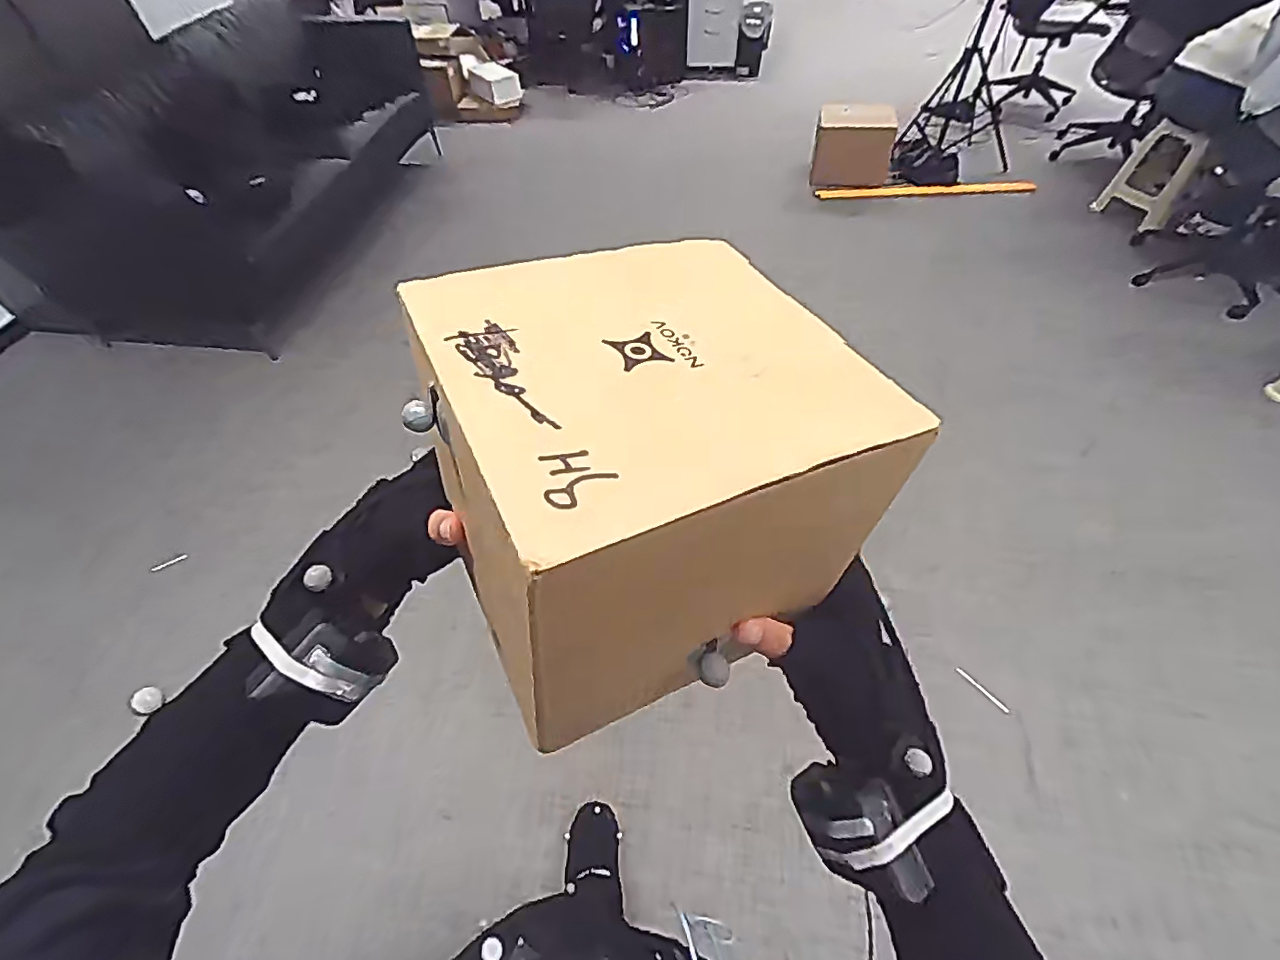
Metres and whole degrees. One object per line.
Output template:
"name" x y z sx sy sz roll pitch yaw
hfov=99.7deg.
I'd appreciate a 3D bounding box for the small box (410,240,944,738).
"small box" 0.000 -0.001 0.282 0.179 0.176 0.168 -17 52 -24
